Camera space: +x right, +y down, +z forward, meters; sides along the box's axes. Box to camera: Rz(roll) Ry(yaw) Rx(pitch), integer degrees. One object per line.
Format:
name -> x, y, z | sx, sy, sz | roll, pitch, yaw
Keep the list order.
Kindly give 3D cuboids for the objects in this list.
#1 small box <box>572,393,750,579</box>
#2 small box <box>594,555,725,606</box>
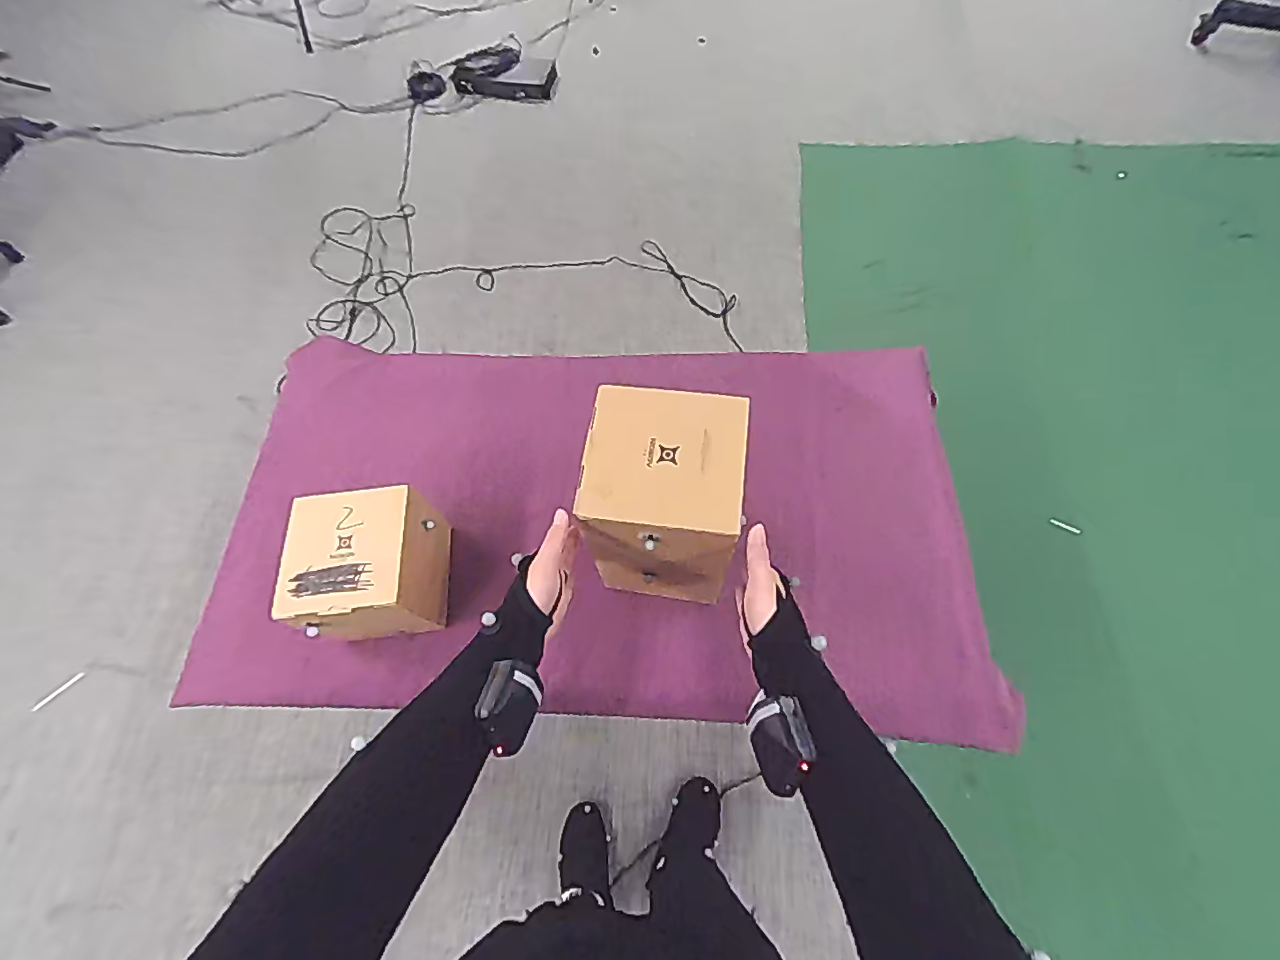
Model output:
small box -> 0.031, 0.014, 0.655 | 0.179, 0.176, 0.168 | 6, 66, 6
small box -> 0.041, 0.081, 0.804 | 0.179, 0.176, 0.168 | 8, 66, 6
